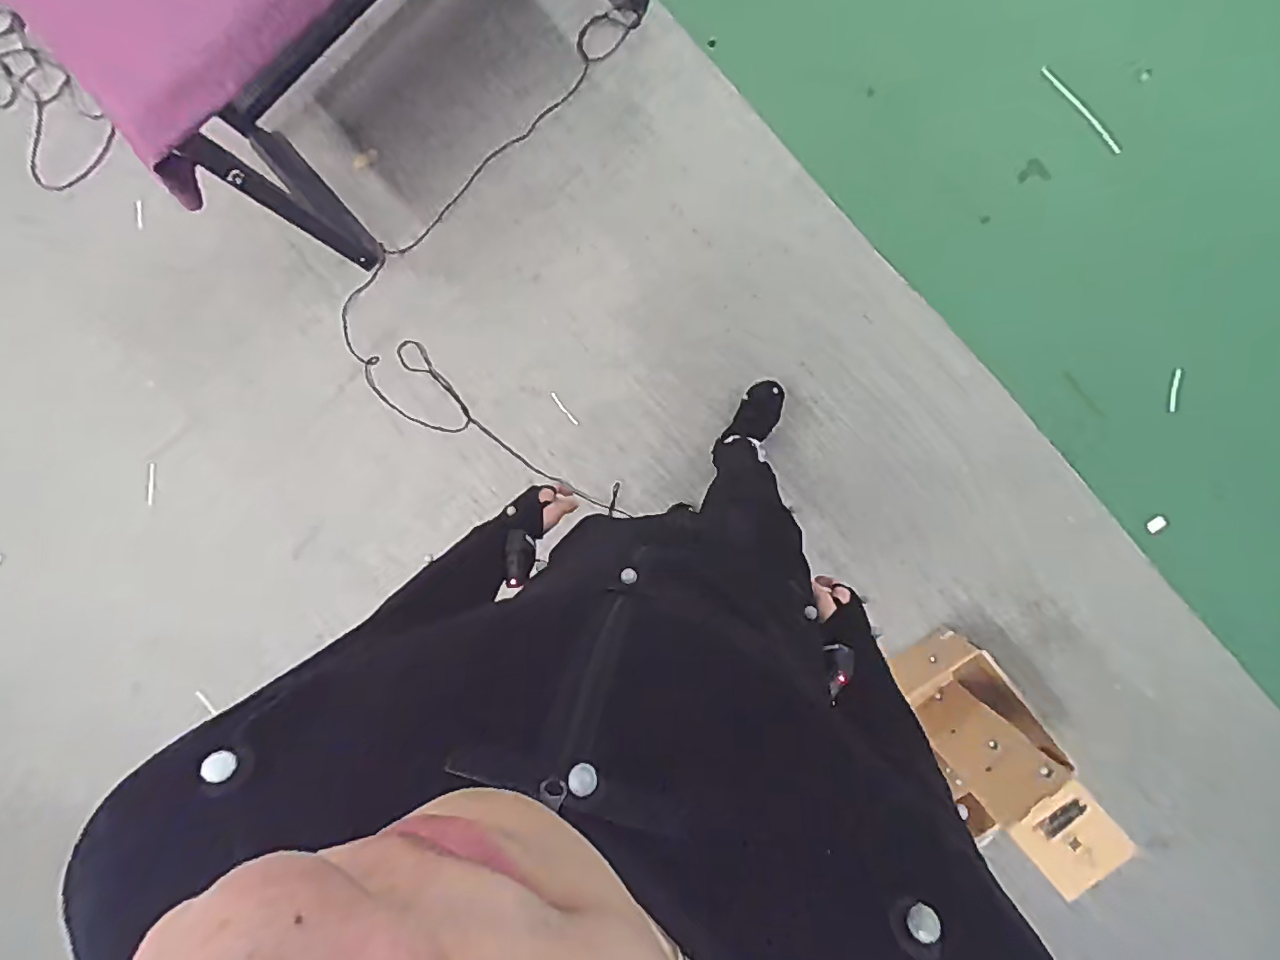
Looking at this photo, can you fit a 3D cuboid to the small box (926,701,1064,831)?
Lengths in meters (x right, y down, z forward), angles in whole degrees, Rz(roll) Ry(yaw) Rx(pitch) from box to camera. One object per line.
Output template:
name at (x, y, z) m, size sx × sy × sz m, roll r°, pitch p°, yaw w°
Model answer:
small box at (0.827, 0.665, 1.280) m, size 0.168 × 0.176 × 0.179 m, roll -41°, pitch 89°, yaw 2°
